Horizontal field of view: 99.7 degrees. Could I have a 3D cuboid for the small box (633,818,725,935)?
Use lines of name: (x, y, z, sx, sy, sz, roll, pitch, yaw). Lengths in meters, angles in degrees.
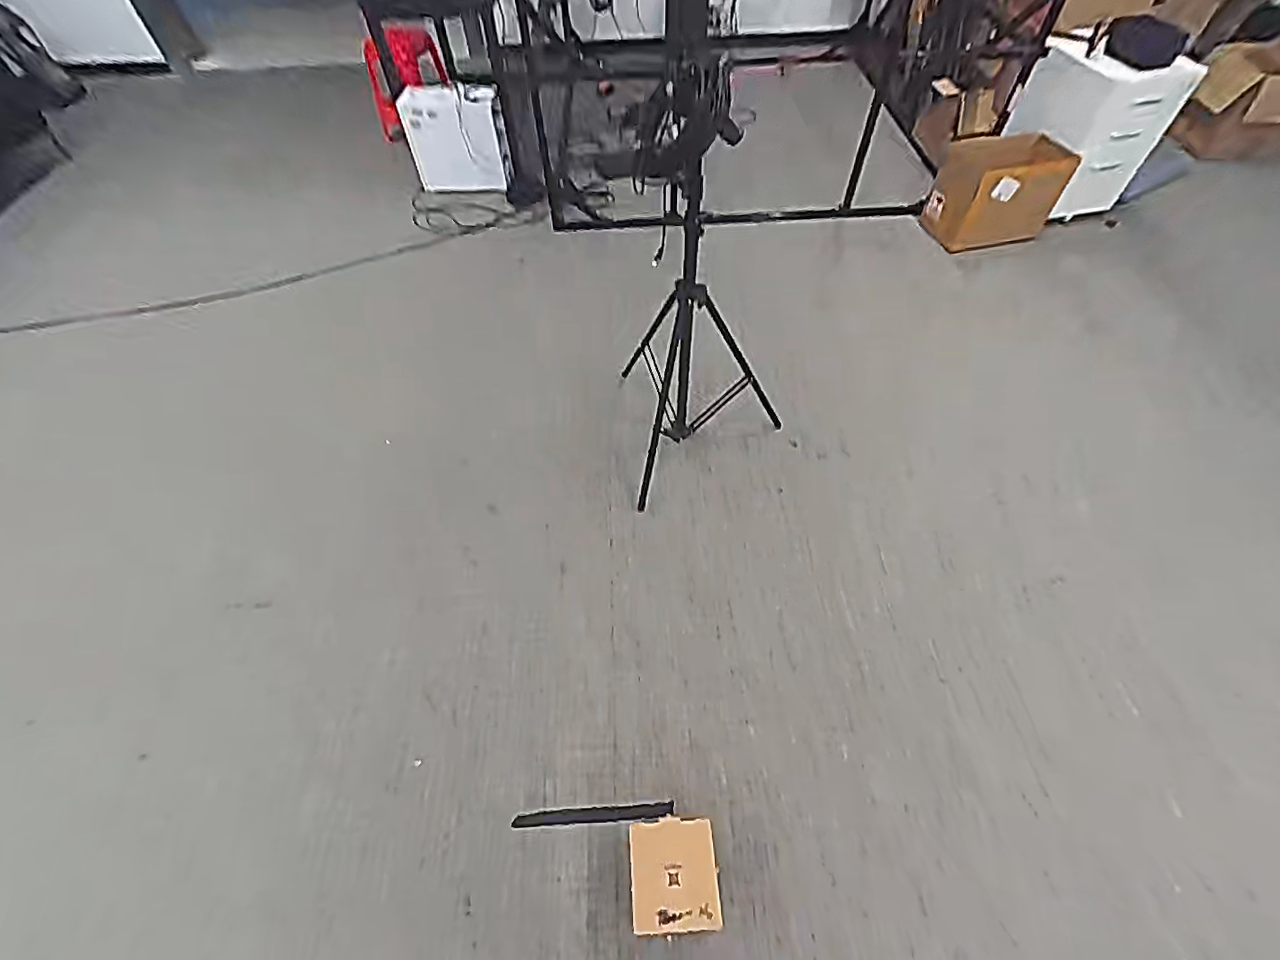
small box: (0.071, 0.803, 1.097, 0.168, 0.176, 0.179, -4, 53, -1)
